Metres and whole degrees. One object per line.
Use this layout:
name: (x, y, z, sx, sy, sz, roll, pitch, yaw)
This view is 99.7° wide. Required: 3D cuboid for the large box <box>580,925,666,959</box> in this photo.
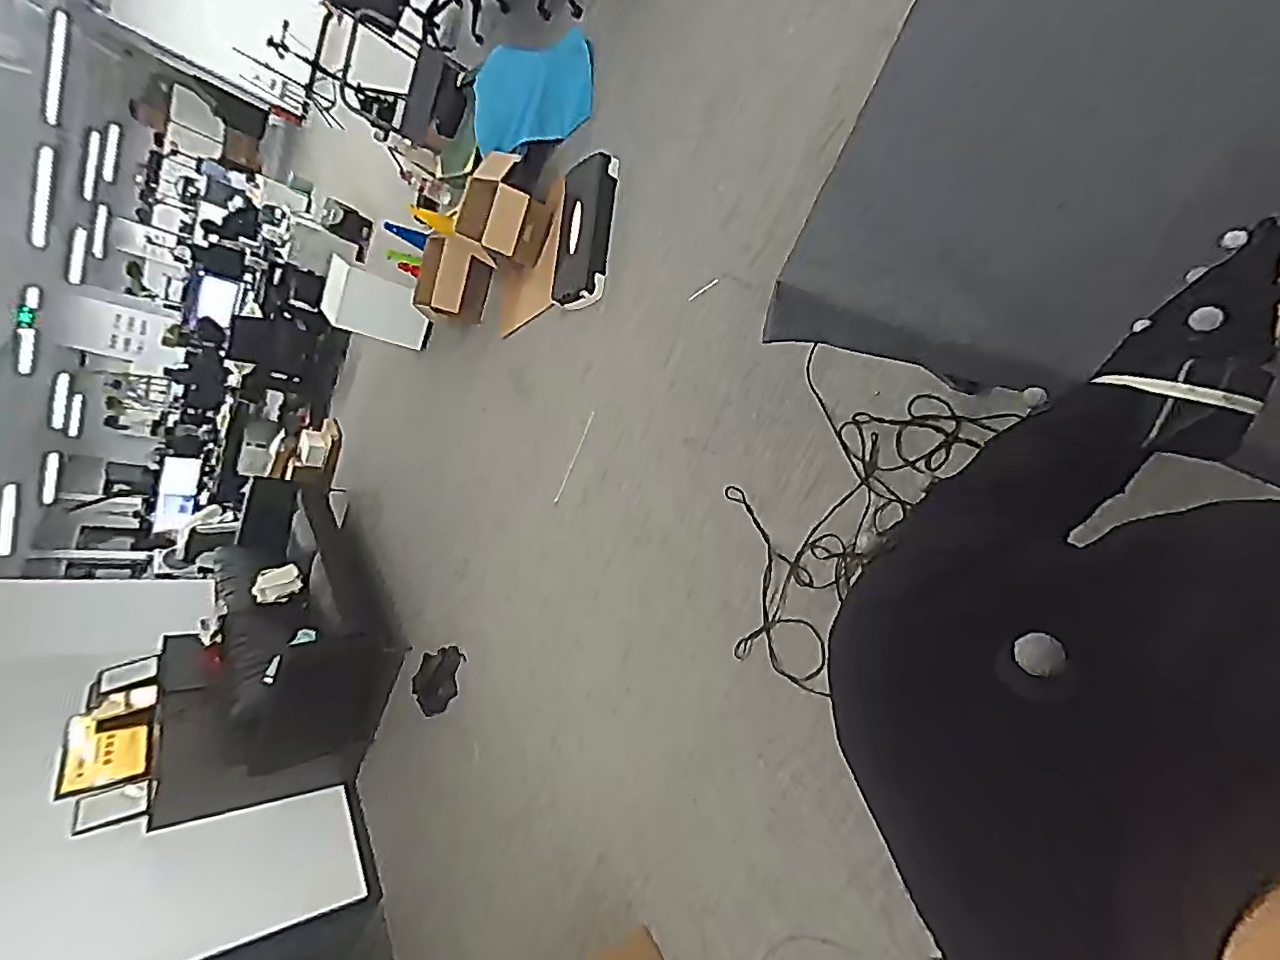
large box: (-0.038, 1.677, 1.604, 0.408, 0.320, 0.320, 40, 111, 44)
